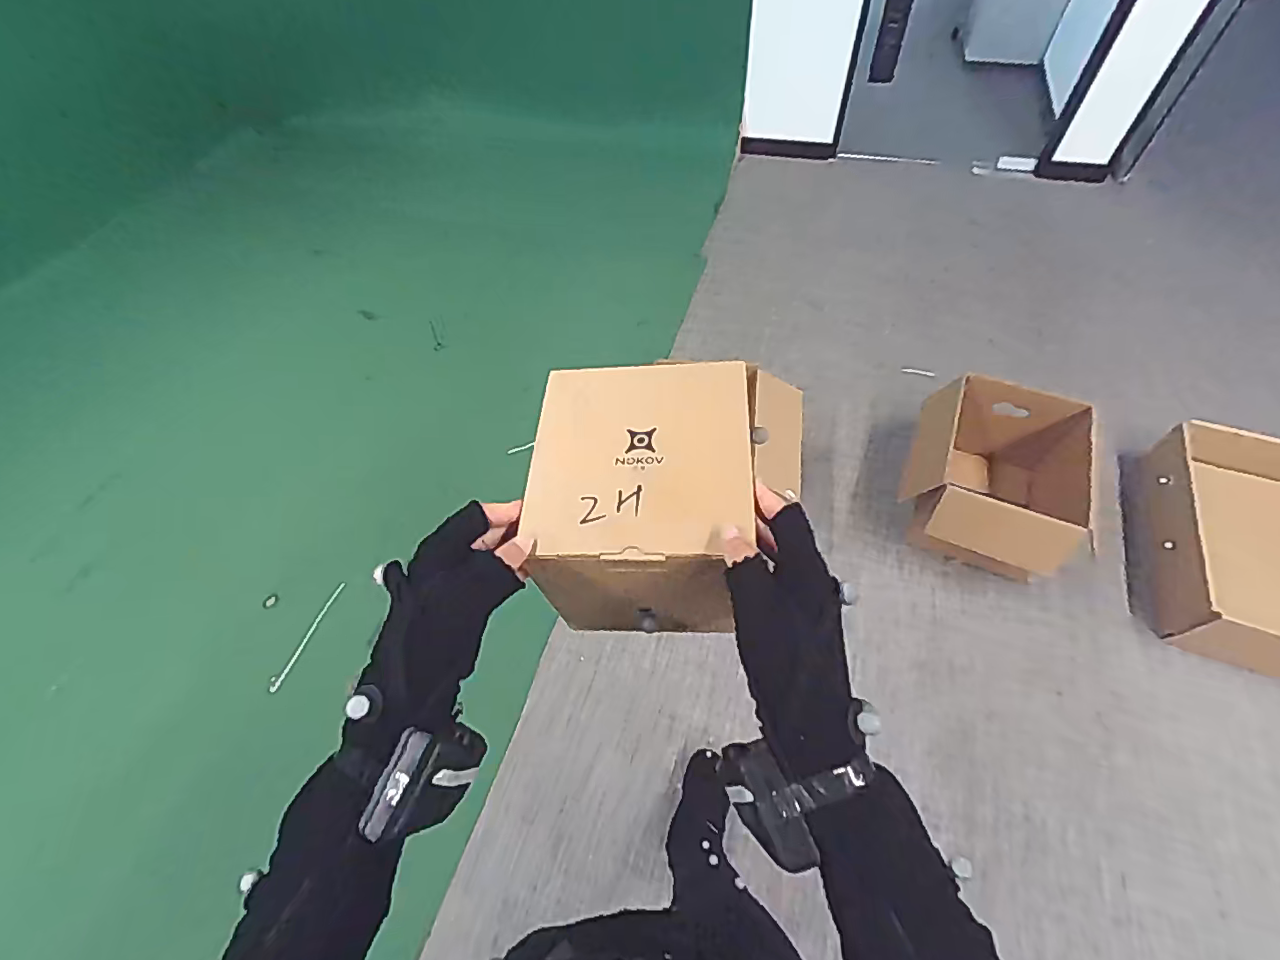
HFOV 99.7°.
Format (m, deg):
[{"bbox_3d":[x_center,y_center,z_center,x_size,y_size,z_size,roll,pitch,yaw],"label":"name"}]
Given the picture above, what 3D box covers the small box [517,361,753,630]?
[{"bbox_3d":[0.010,0.018,0.477,0.168,0.176,0.179,-1,58,9],"label":"small box"}]
